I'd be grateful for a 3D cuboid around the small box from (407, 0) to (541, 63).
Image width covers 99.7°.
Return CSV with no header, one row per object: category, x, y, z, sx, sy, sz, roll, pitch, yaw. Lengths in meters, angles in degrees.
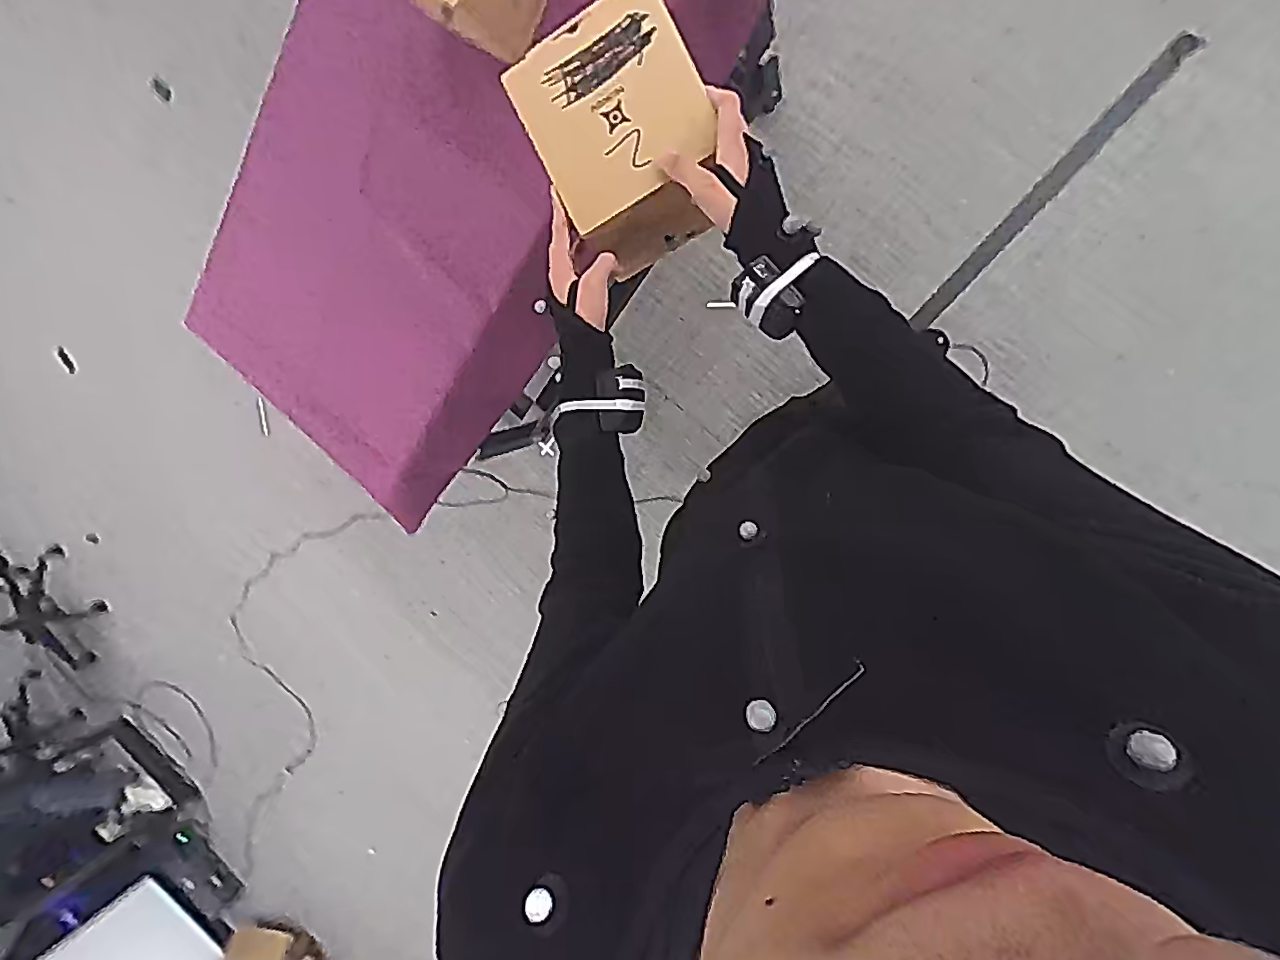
small box,-0.248,-0.738,0.760,0.179,0.176,0.168,35,110,8
